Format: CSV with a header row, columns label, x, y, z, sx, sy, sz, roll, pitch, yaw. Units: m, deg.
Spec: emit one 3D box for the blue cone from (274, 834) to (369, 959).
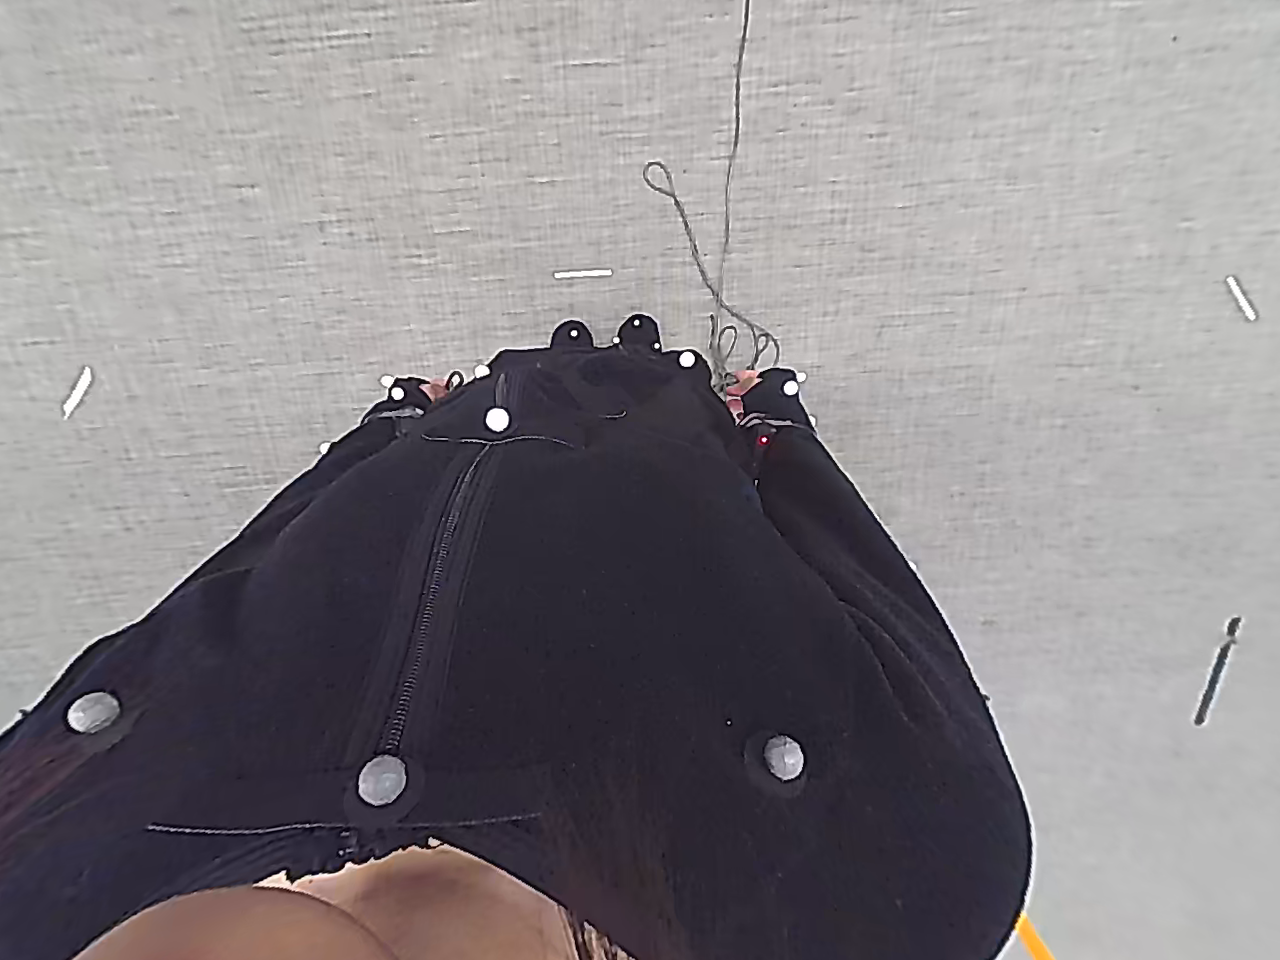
label,x,y,z,sx,sy,sz,roll,pitch,yaw
blue cone,-1.039,1.352,1.717,0.193,0.380,0.192,0,108,-1
